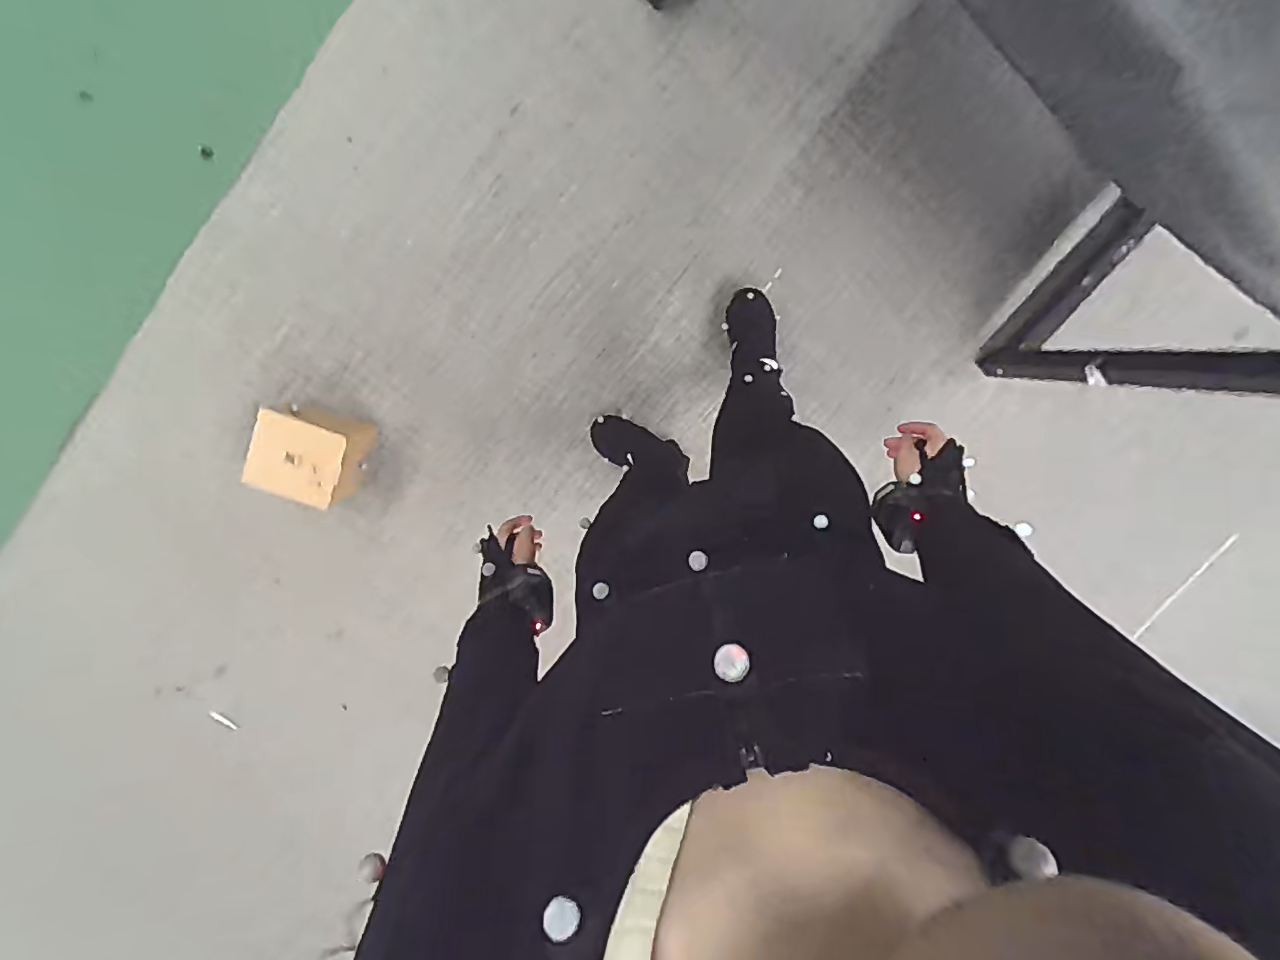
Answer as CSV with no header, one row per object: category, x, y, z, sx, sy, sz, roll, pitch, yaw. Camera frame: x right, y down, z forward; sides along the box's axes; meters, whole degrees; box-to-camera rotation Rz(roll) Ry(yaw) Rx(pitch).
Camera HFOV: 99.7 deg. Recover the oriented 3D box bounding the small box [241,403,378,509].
small box,-0.703,-0.060,1.166,0.179,0.176,0.168,20,101,-10
